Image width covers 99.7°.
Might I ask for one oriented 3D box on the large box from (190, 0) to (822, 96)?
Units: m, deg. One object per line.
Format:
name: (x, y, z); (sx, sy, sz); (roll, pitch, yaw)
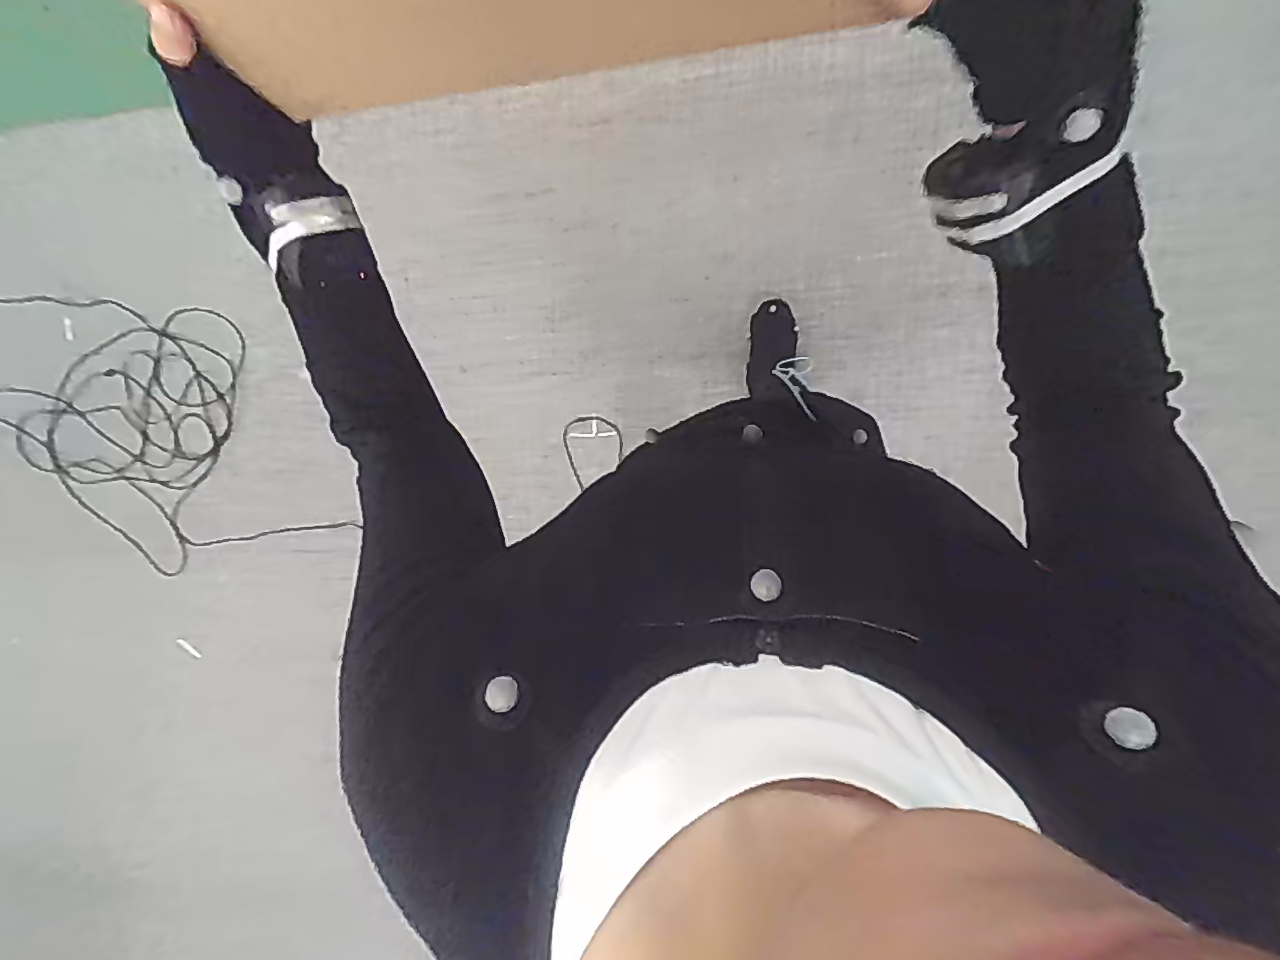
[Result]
large box: (-0.064, -0.395, 0.163); (0.408, 0.320, 0.320); (4, 89, 17)
